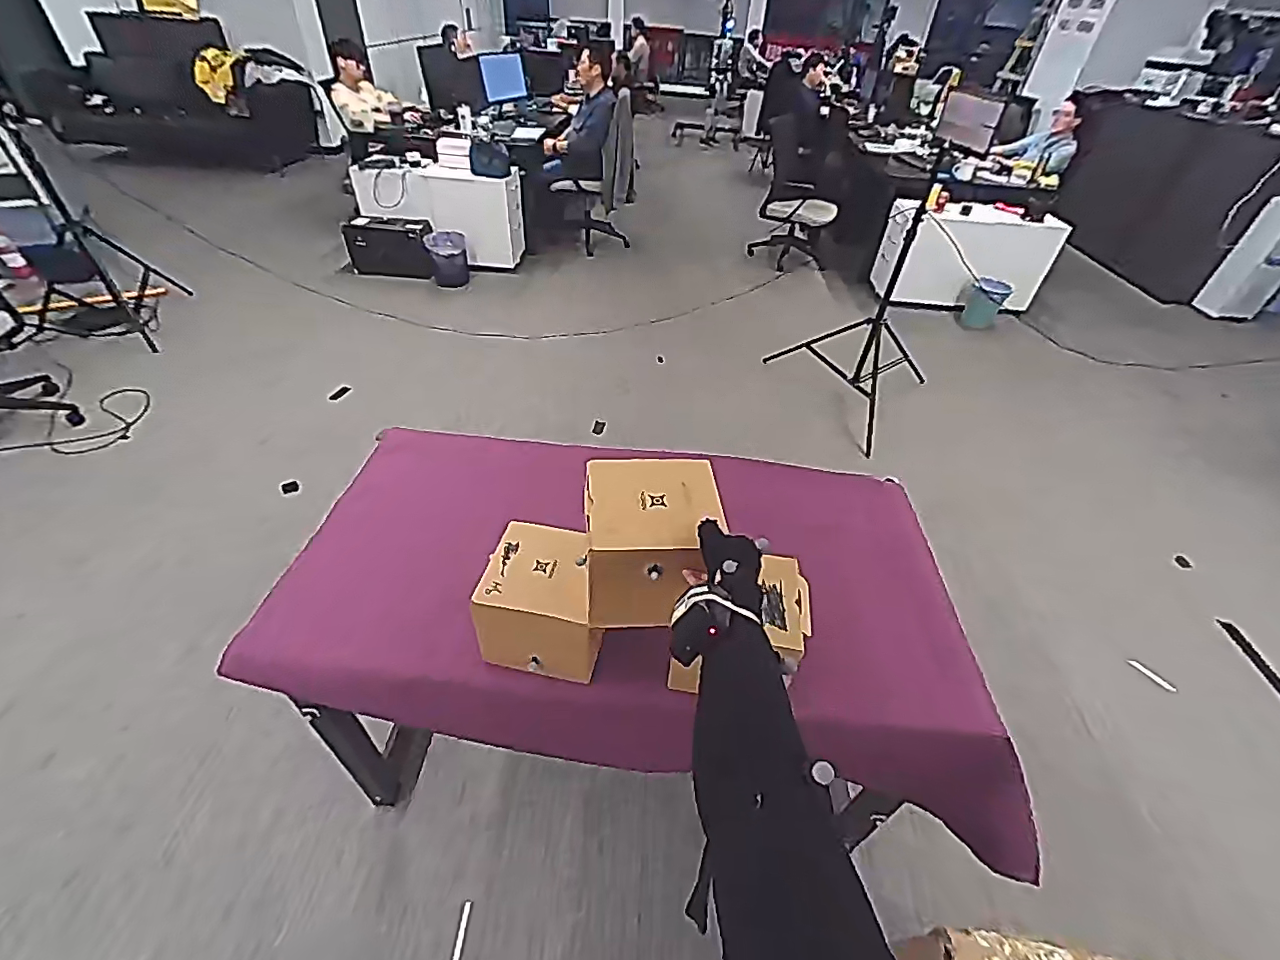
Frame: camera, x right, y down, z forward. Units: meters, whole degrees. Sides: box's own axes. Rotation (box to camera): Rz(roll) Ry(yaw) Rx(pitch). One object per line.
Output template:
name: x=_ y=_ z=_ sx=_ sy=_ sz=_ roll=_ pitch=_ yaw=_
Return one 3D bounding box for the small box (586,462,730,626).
small box: x=0.014 y=0.091 z=0.757 sx=0.179 sy=0.176 sz=0.168 roll=0 pitch=42 yaw=-7

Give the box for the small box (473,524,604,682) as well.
small box: x=-0.144 y=0.199 z=0.867 sx=0.179 sy=0.176 sz=0.168 roll=10 pitch=40 yaw=5

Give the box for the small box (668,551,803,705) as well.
small box: x=0.146 y=0.232 z=0.854 sx=0.179 sy=0.176 sz=0.168 roll=8 pitch=40 yaw=5
